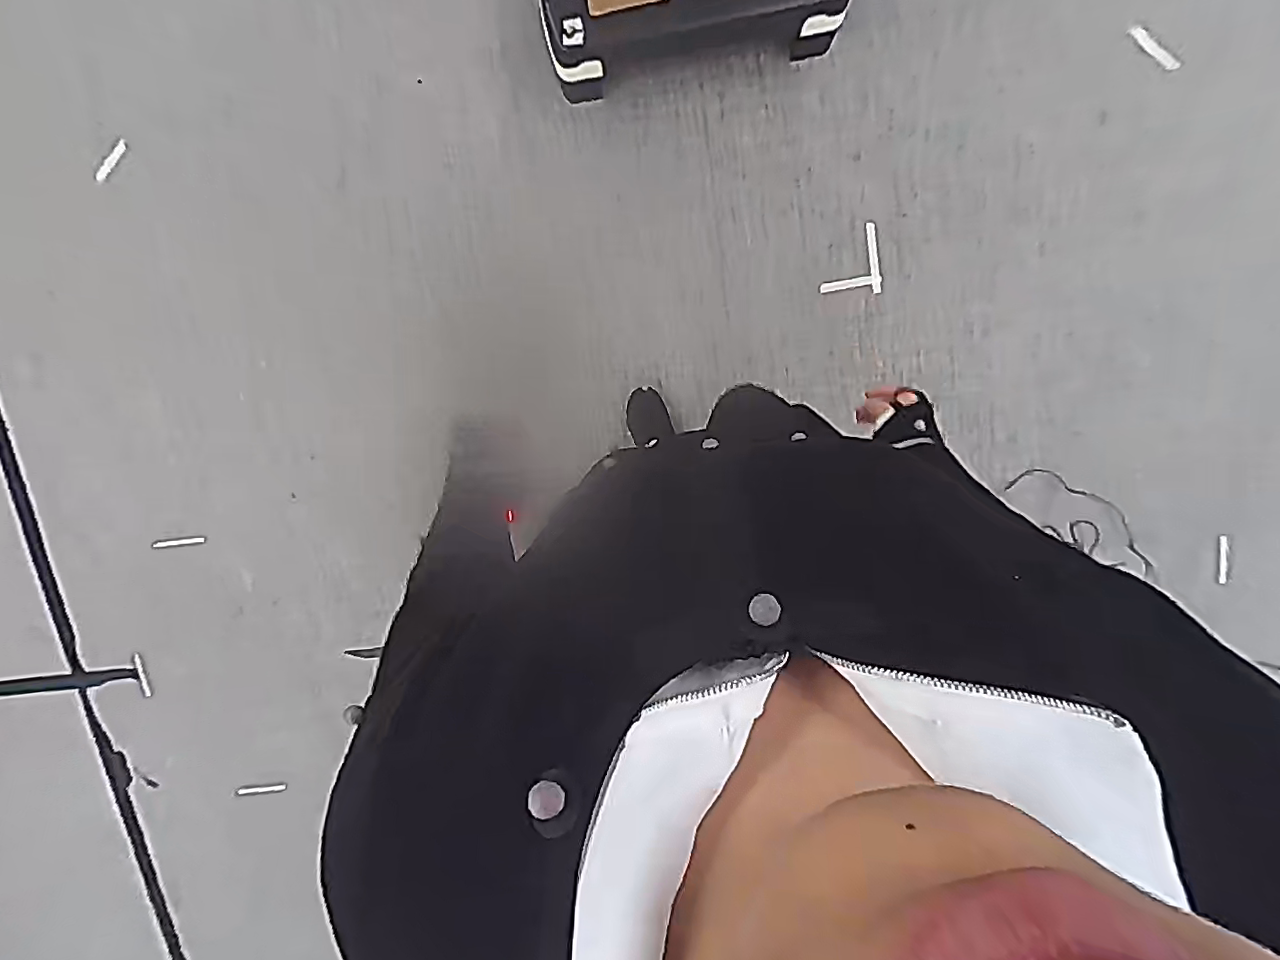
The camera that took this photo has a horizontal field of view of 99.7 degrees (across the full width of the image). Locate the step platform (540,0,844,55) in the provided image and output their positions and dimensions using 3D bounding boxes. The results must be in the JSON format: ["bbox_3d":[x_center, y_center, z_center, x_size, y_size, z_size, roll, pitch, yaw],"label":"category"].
[{"bbox_3d":[0.124,-1.054,1.014,0.684,0.204,0.286,-9,99,2],"label":"step platform"}]
